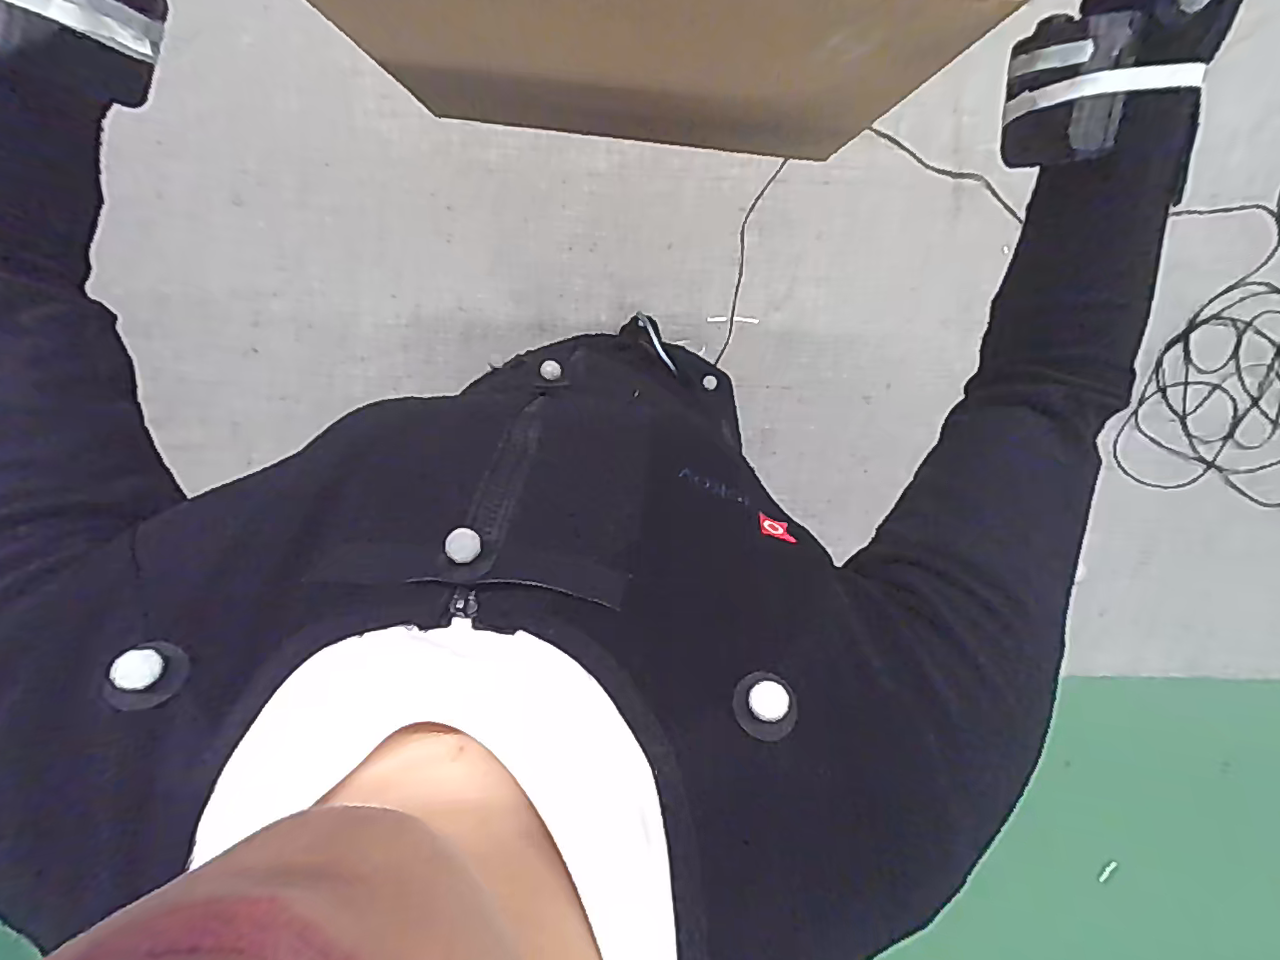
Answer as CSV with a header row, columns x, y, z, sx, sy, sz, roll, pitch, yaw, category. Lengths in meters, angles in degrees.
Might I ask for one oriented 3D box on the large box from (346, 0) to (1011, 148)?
x,y,z,sx,sy,sz,roll,pitch,yaw,category
0.014,-0.453,0.365,0.408,0.320,0.320,5,109,-3,large box
